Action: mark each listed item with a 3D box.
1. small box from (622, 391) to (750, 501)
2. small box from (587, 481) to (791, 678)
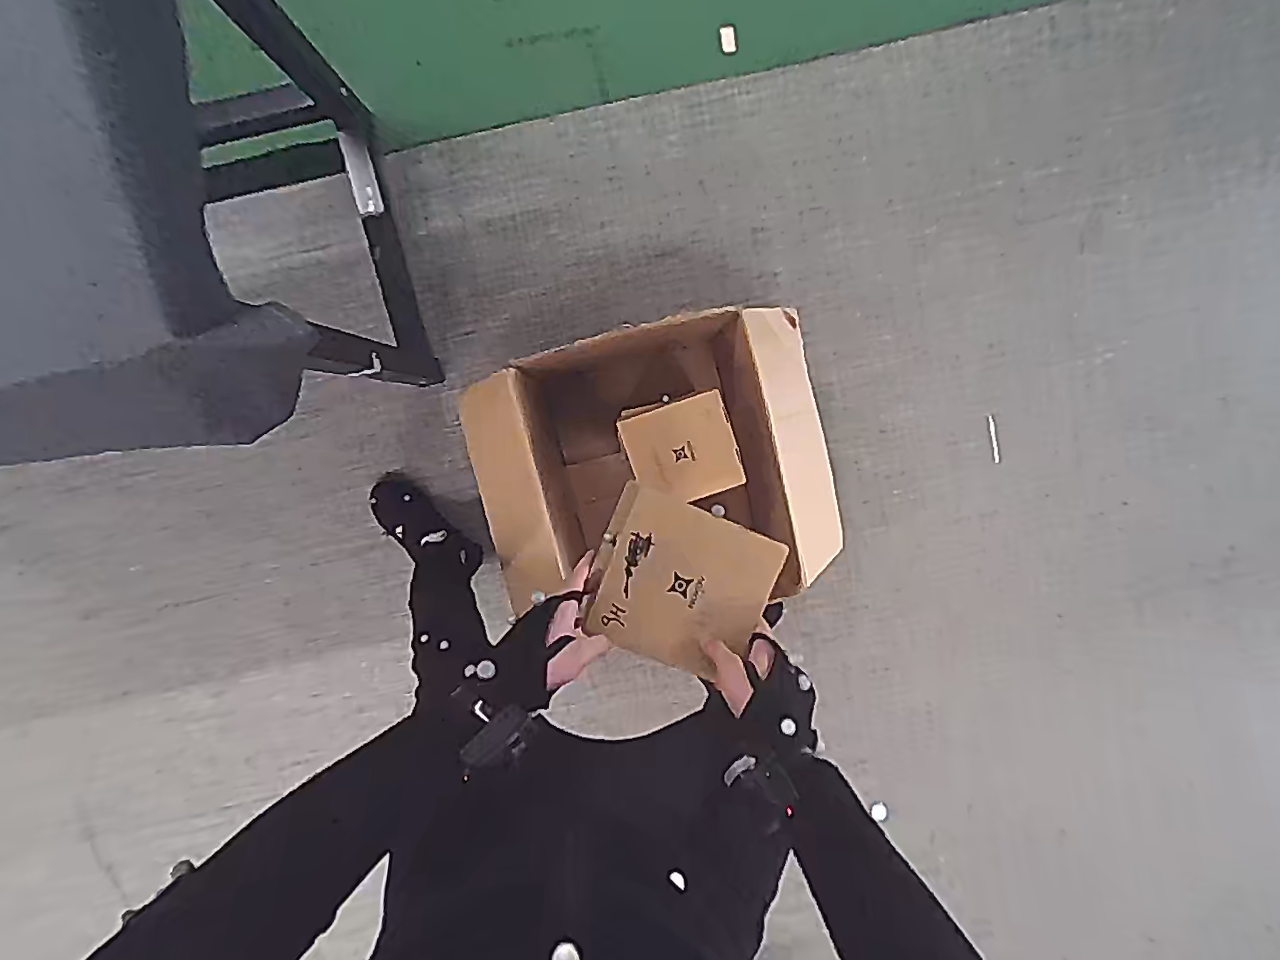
[{"bbox_3d":[0.073,-0.055,0.951,0.179,0.176,0.168,-18,99,2],"label":"small box"},{"bbox_3d":[0.046,0.104,0.650,0.179,0.176,0.168,21,90,-6],"label":"small box"}]
